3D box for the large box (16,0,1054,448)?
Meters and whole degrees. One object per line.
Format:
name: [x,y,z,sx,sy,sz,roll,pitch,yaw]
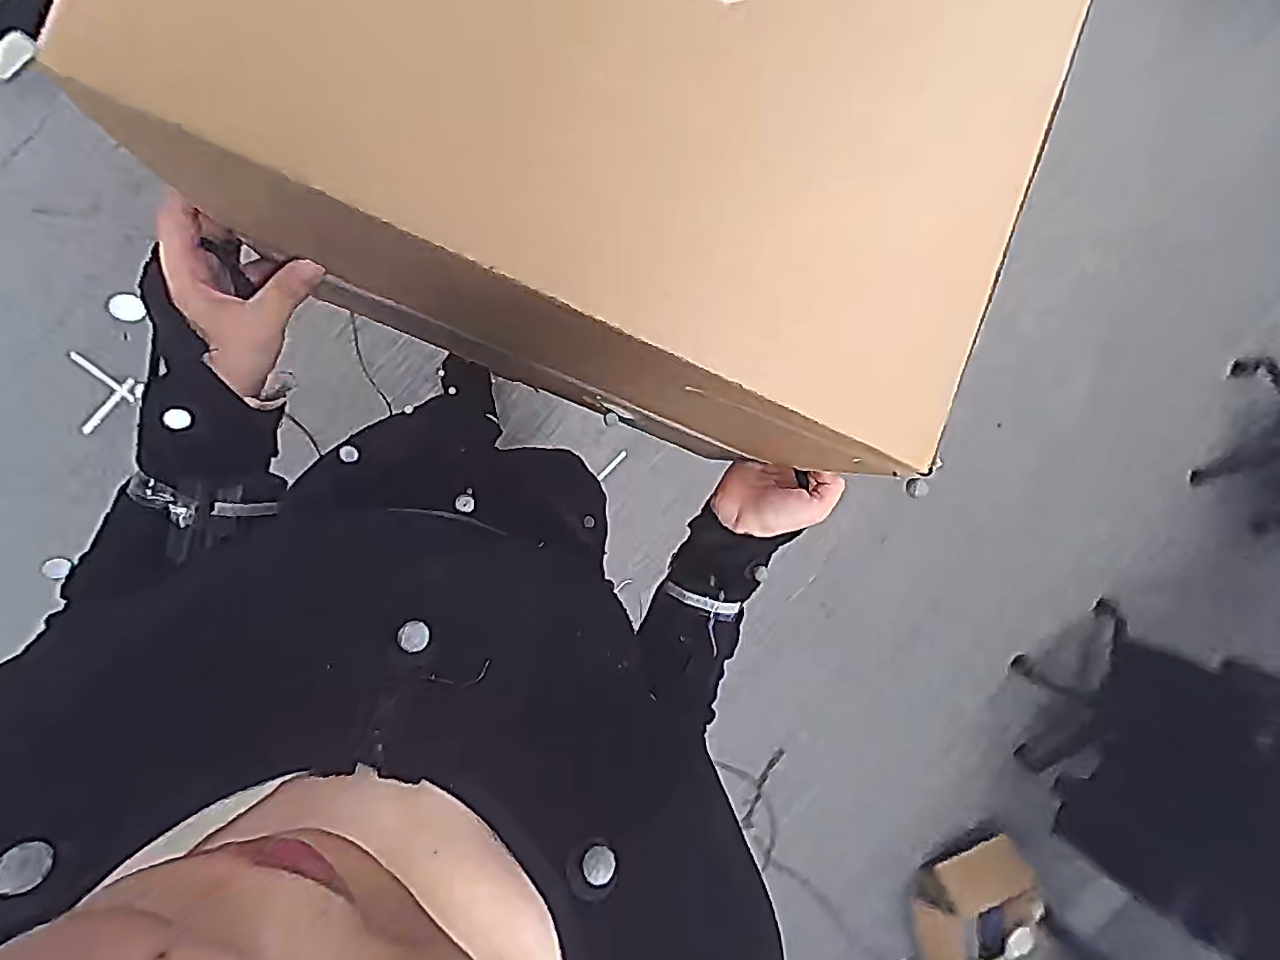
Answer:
large box: [-0.027,-0.236,0.378,0.408,0.320,0.320,18,91,-16]
